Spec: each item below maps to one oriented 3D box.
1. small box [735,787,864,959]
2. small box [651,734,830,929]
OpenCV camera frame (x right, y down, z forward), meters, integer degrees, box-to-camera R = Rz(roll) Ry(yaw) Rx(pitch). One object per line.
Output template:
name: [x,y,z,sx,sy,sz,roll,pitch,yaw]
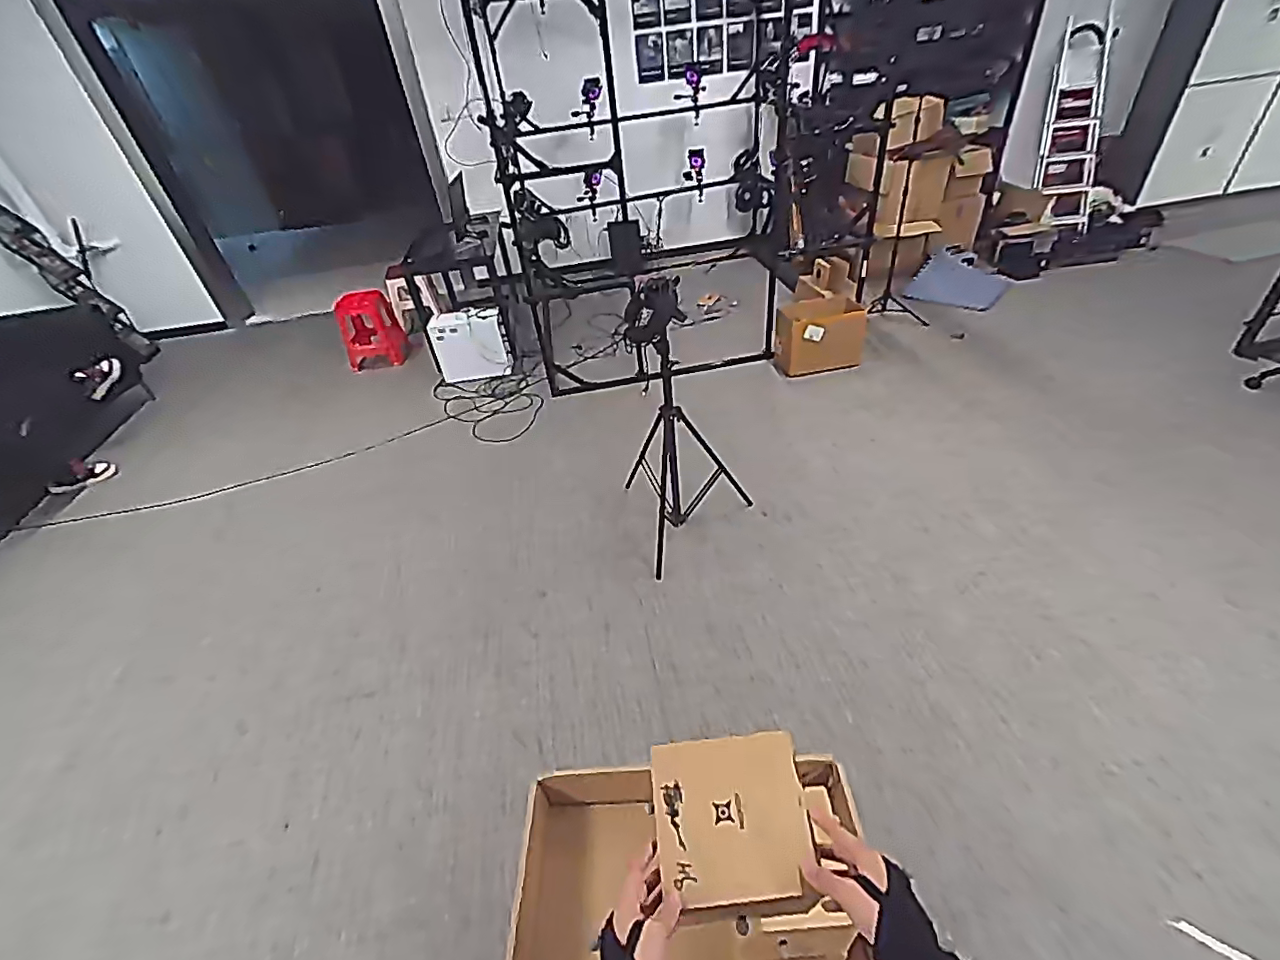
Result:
small box: [0.219,0.599,0.819,0.168,0.176,0.179,-6,37,1]
small box: [0.109,0.431,0.662,0.179,0.176,0.168,-7,45,0]
